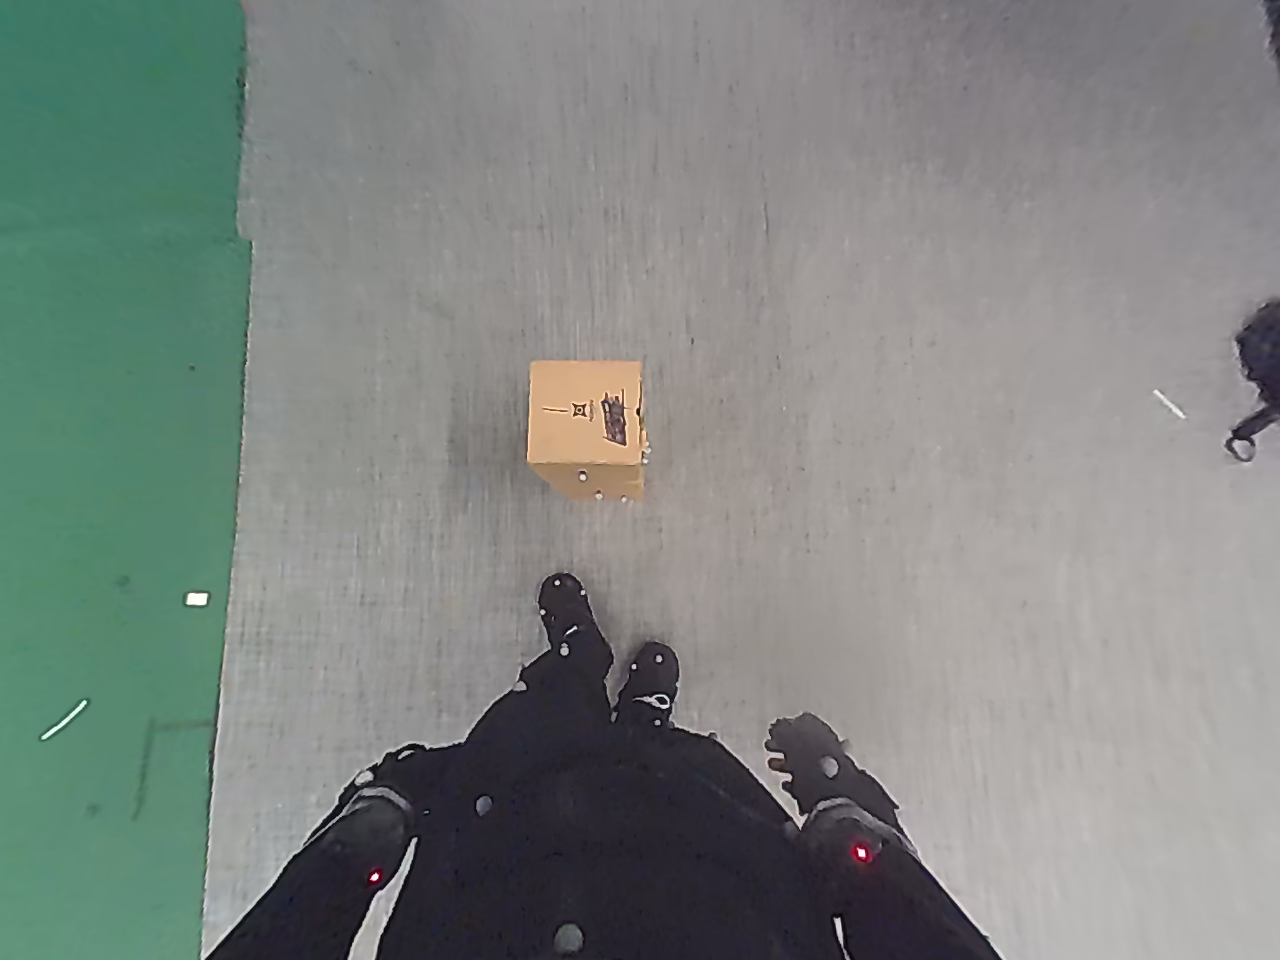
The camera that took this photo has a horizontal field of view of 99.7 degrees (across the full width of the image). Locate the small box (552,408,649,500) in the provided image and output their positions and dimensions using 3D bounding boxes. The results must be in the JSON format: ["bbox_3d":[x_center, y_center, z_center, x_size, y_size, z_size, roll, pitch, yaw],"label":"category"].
[{"bbox_3d":[-0.075,-0.051,1.079,0.179,0.176,0.168,3,81,0],"label":"small box"}]

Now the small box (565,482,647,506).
[{"bbox_3d":[-0.074,-0.032,1.242,0.179,0.176,0.168,-2,81,1],"label":"small box"}]

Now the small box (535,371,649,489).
[{"bbox_3d":[-0.079,-0.078,0.917,0.179,0.176,0.168,-2,81,-1],"label":"small box"}]
